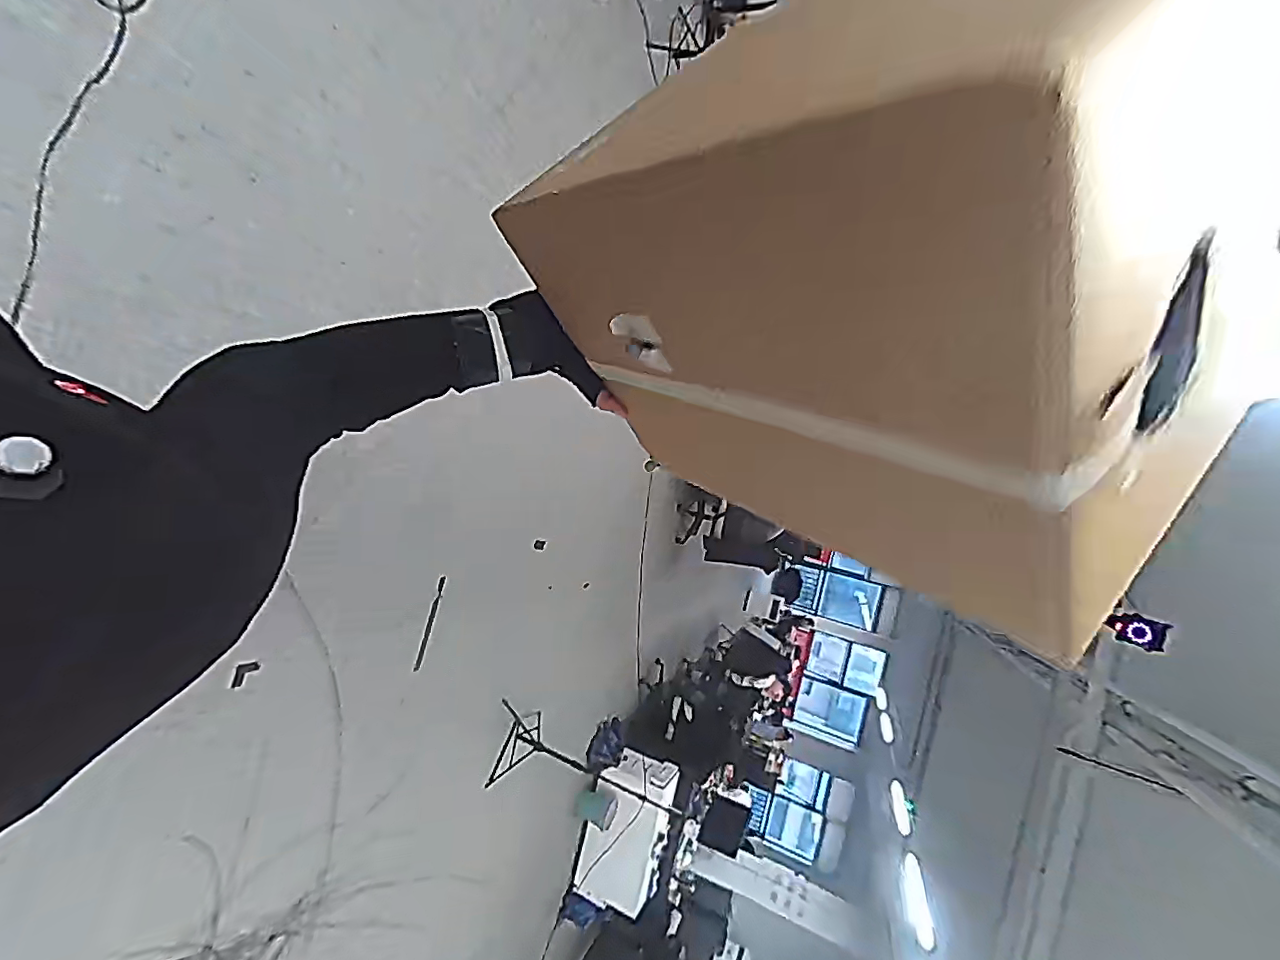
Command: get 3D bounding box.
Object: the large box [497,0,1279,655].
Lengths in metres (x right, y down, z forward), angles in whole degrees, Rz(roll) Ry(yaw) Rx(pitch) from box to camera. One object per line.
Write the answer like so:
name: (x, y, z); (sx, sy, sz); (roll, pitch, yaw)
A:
large box: (0.157, -0.155, 0.418); (0.320, 0.408, 0.320); (-42, 126, -12)
